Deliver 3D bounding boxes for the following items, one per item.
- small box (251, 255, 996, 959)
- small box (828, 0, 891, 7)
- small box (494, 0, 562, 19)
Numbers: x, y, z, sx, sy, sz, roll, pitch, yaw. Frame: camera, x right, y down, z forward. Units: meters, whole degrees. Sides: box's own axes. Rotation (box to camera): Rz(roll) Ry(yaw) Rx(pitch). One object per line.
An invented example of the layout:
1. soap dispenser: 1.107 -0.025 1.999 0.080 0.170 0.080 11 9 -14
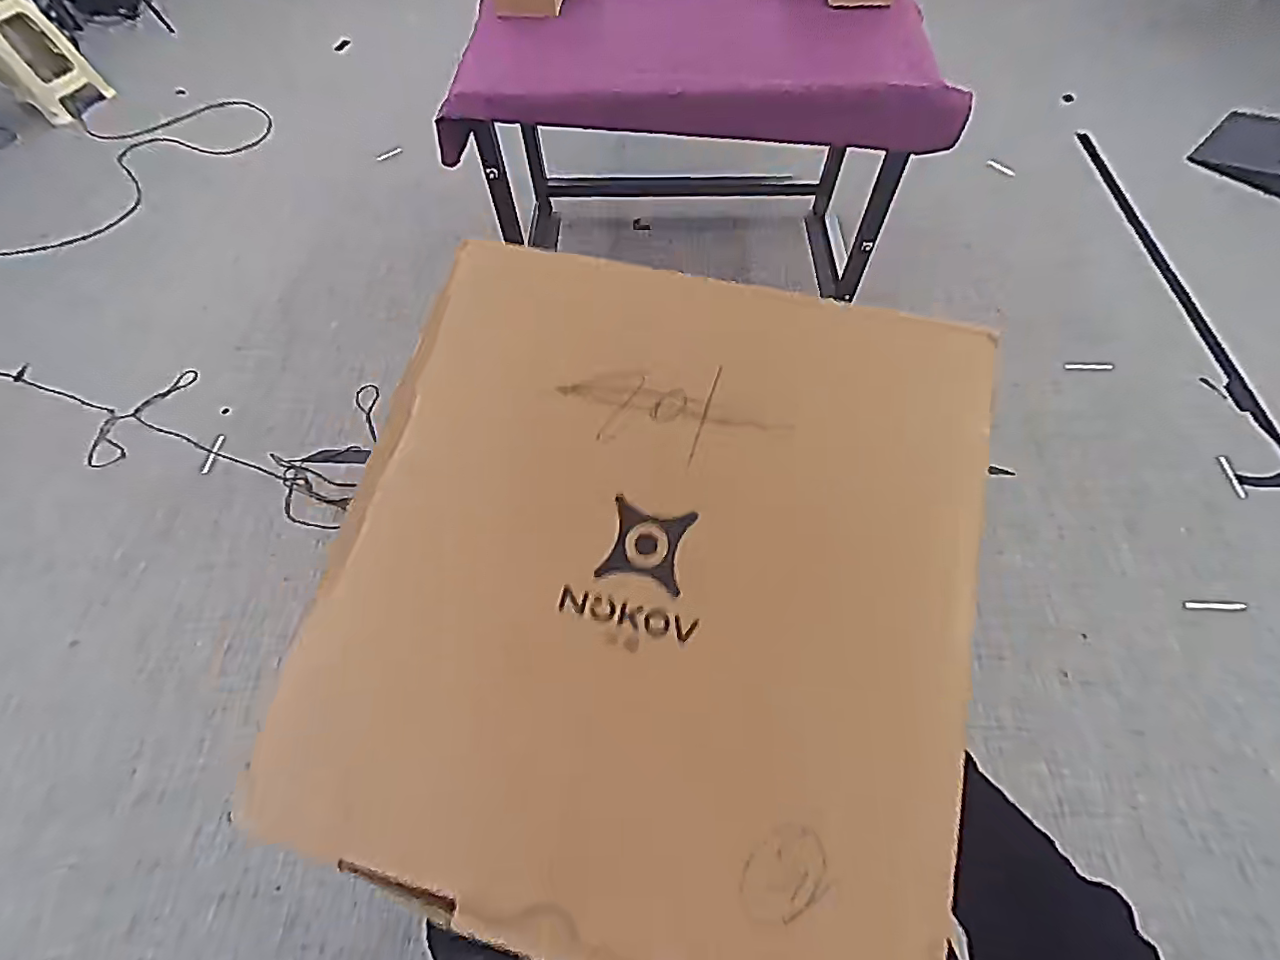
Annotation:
1. small box: 0.007 0.047 0.220 0.168 0.176 0.179 12 74 7
2. small box: 0.607 -1.413 1.457 0.179 0.176 0.168 2 63 2
3. small box: -0.315 -1.409 1.488 0.179 0.176 0.168 4 64 3
